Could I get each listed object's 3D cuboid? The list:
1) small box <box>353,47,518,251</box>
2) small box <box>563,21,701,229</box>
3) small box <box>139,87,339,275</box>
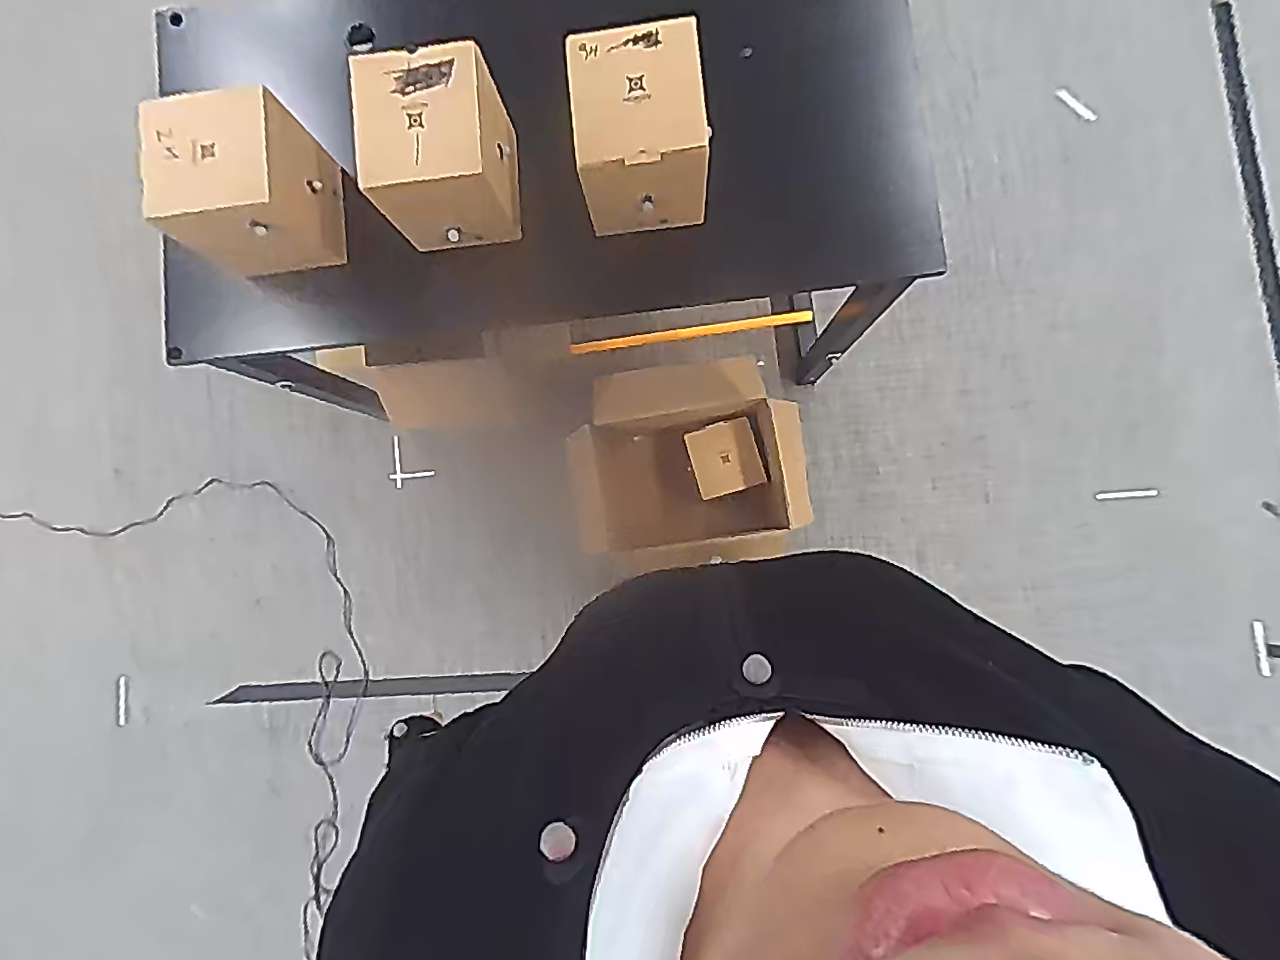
[{"bbox_3d":[-0.278,-0.454,0.766,0.168,0.176,0.179,-5,86,4],"label":"small box"},{"bbox_3d":[-0.003,-0.471,0.748,0.168,0.176,0.179,-5,86,4],"label":"small box"},{"bbox_3d":[-0.561,-0.417,0.781,0.179,0.176,0.168,-6,85,3],"label":"small box"}]
